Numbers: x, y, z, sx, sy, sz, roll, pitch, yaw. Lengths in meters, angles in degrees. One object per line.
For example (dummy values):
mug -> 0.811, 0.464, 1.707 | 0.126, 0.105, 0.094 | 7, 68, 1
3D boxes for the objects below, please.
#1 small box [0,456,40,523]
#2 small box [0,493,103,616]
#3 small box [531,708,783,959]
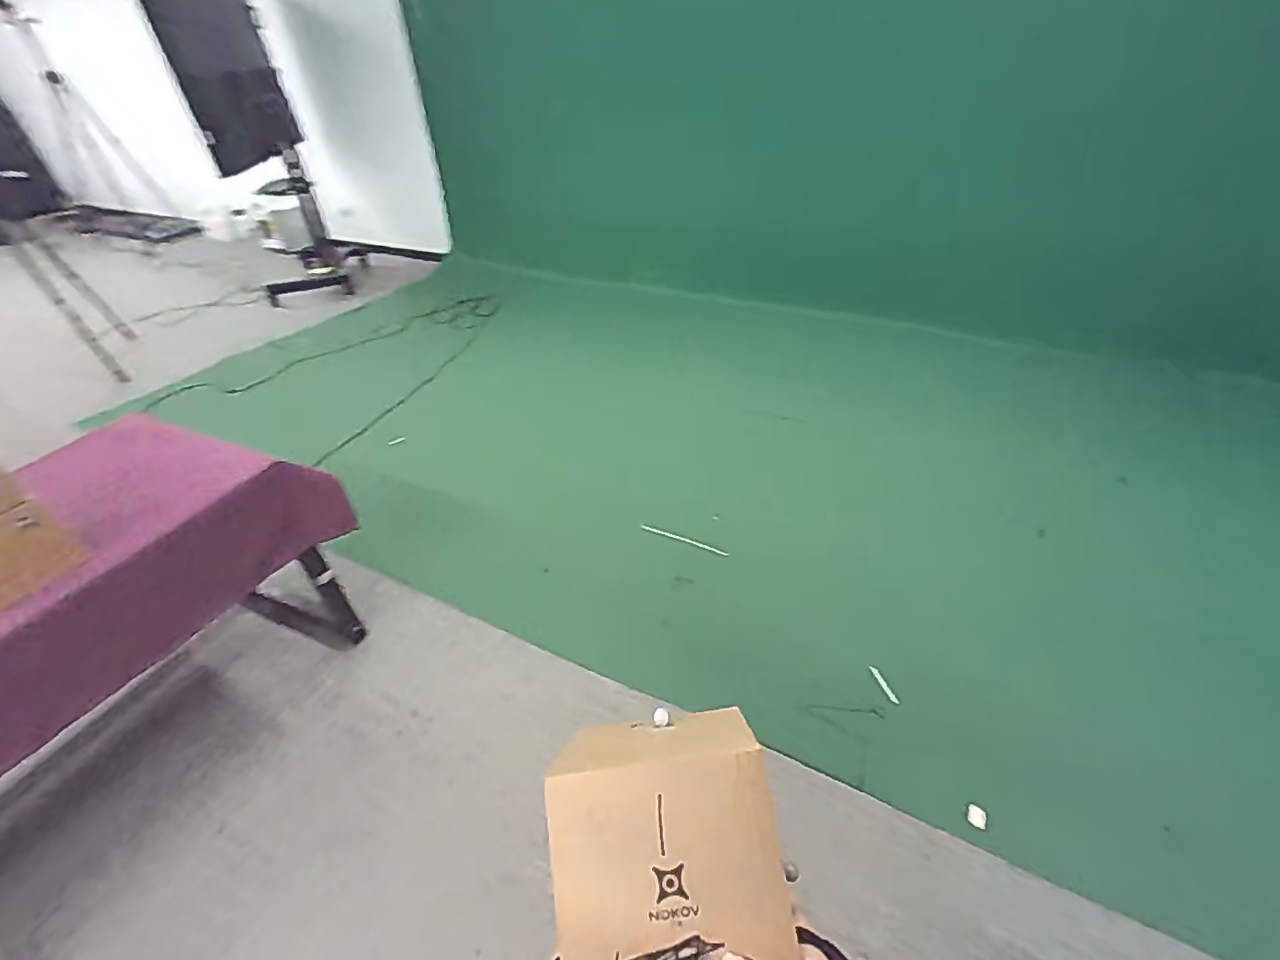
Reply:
small box -> -1.246, 0.003, 0.959 | 0.179, 0.176, 0.168 | 17, 42, 24
small box -> -1.234, 0.134, 1.059 | 0.168, 0.176, 0.179 | 16, 42, 22
small box -> 0.017, 0.309, 0.456 | 0.168, 0.176, 0.179 | -10, 75, 2
